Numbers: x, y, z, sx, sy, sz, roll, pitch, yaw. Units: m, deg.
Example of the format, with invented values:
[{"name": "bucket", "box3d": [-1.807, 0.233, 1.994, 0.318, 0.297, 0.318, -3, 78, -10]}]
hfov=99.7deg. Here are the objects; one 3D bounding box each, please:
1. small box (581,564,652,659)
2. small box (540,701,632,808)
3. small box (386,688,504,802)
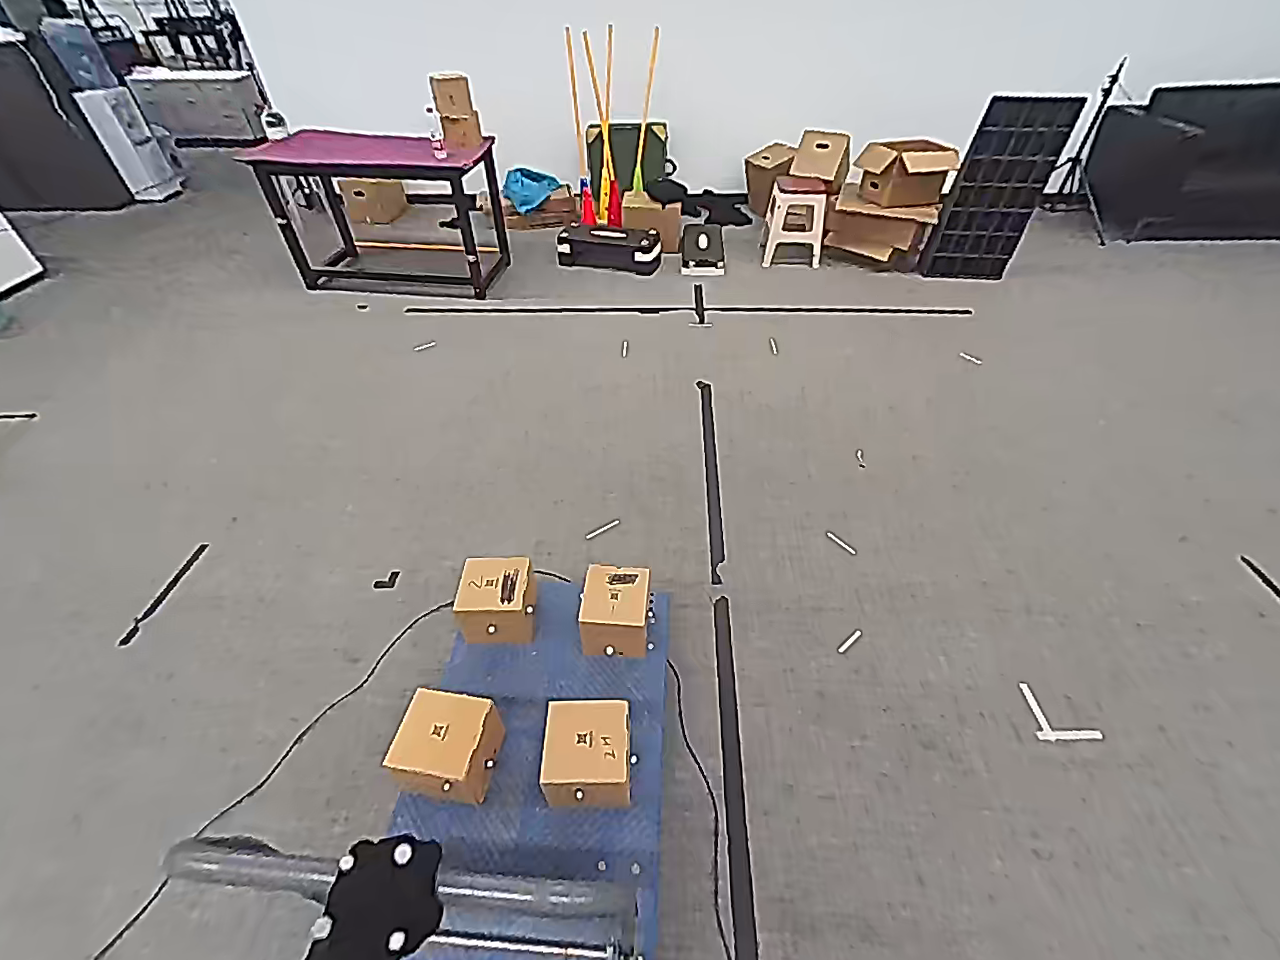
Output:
[{"name": "small box", "box3d": [-0.057, 0.348, 1.431, 0.168, 0.176, 0.179, 4, 45, 4]}, {"name": "small box", "box3d": [-0.108, 0.597, 1.173, 0.179, 0.176, 0.168, 0, 44, 1]}, {"name": "small box", "box3d": [-0.417, 0.585, 1.189, 0.179, 0.176, 0.168, 7, 44, 5]}]
